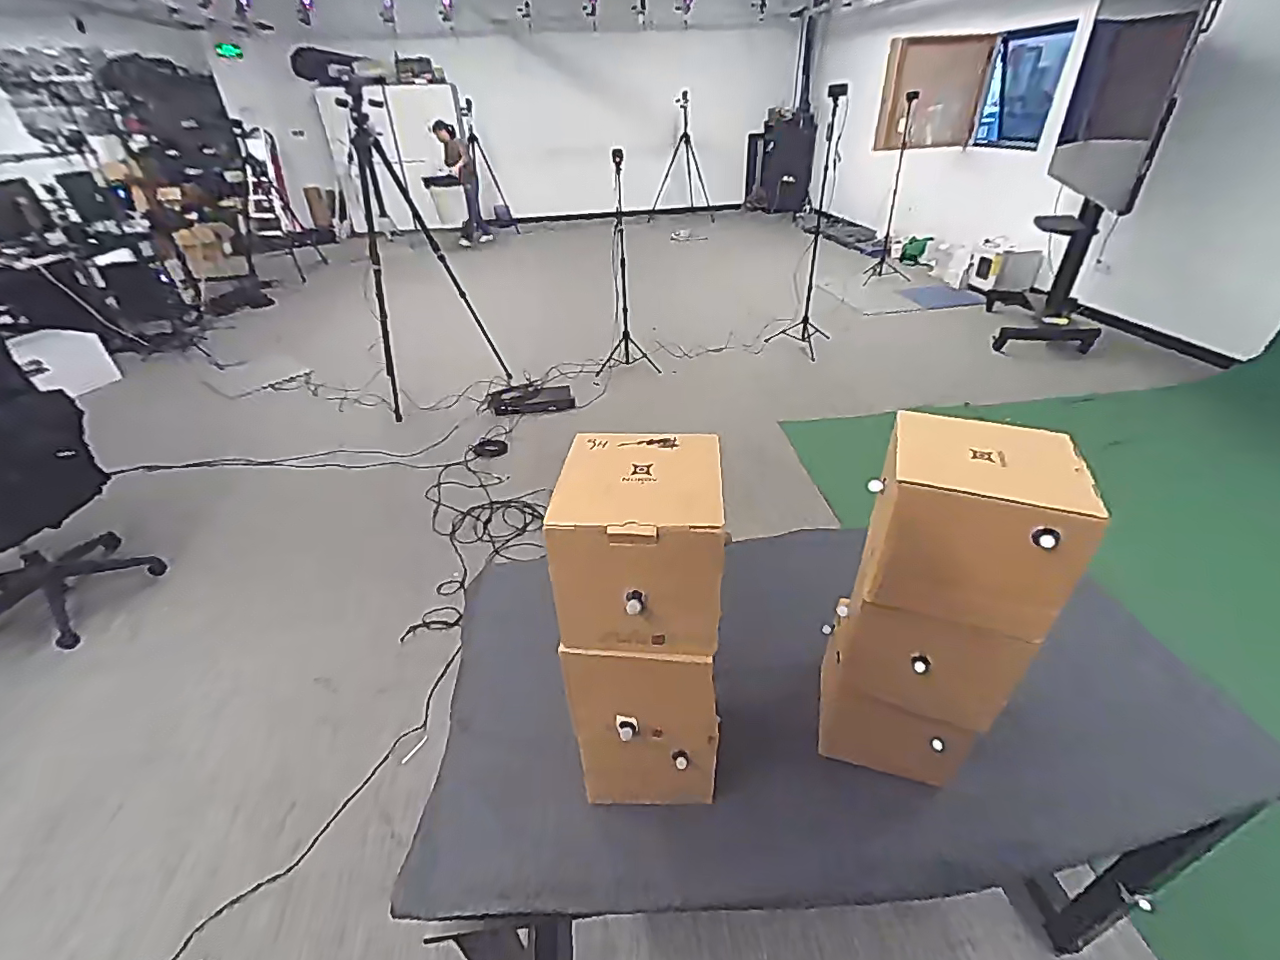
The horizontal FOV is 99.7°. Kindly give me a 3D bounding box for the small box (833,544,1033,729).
[{"bbox_3d":[0.360,0.182,0.688,0.179,0.176,0.168,12,36,21],"label":"small box"}]

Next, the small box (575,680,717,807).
[{"bbox_3d":[0.011,0.341,0.770,0.179,0.176,0.168,-1,33,2],"label":"small box"}]

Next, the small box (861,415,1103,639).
[{"bbox_3d":[0.352,0.047,0.598,0.179,0.176,0.168,12,36,19],"label":"small box"}]

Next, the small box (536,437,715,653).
[{"bbox_3d":[-0.001,0.068,0.590,0.168,0.176,0.179,1,34,6],"label":"small box"}]

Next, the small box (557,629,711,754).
[{"bbox_3d":[0.004,0.208,0.676,0.168,0.176,0.179,1,35,7],"label":"small box"}]
